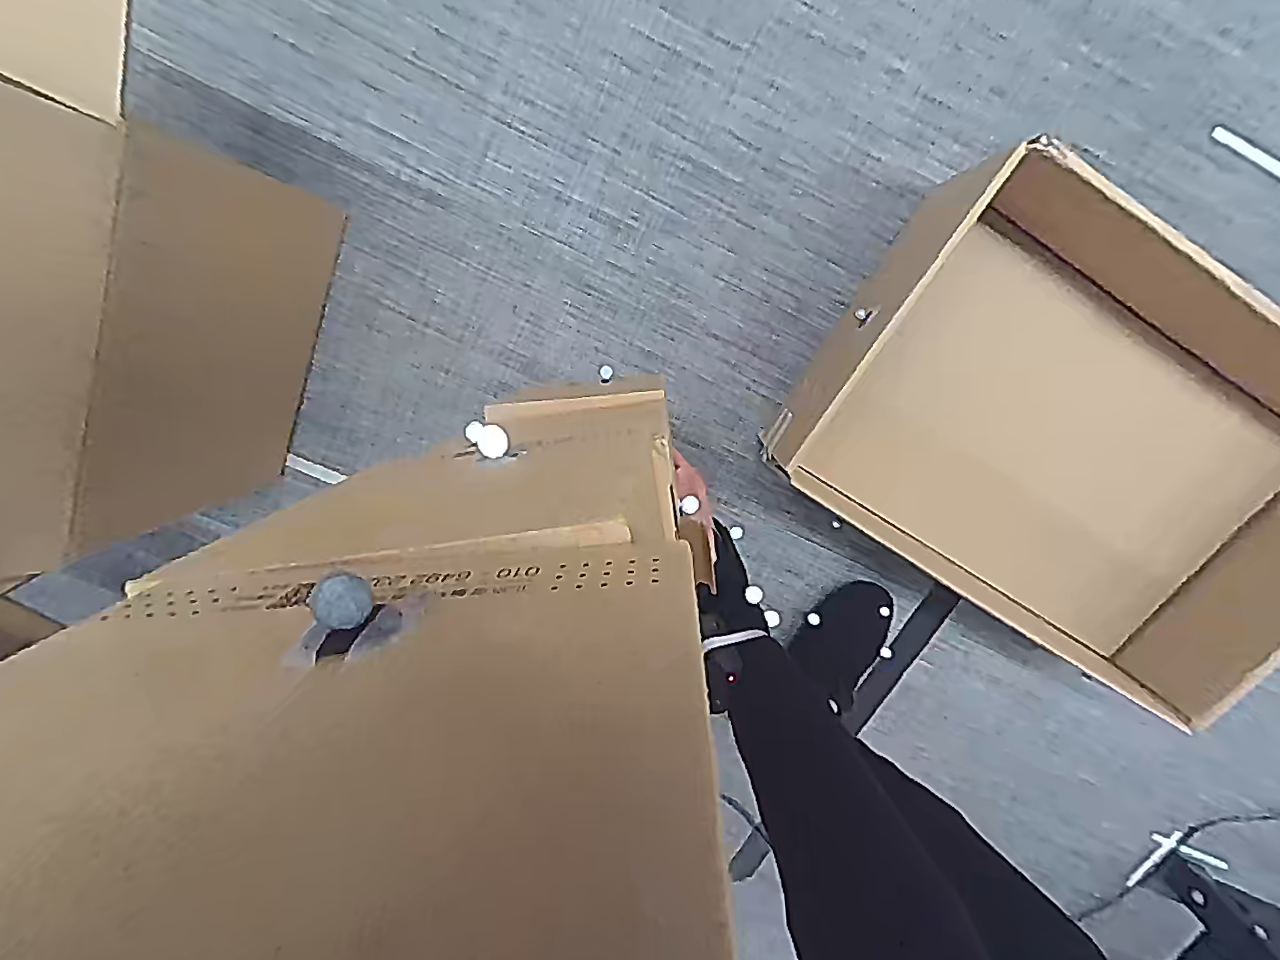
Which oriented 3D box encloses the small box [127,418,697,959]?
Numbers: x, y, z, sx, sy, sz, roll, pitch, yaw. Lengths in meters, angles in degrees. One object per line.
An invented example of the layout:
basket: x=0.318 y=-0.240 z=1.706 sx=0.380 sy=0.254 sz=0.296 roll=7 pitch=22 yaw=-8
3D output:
small box: x=-0.064 y=0.077 z=0.260 sx=0.168 sy=0.176 sz=0.179 roll=-7 pitch=104 yaw=5

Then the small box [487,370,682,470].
small box: x=-0.042 y=-0.016 z=0.576 sx=0.168 sy=0.176 sz=0.179 roll=-4 pitch=106 yaw=7

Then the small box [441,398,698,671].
small box: x=-0.052 y=0.035 z=0.420 sx=0.179 sy=0.176 sz=0.168 roll=-7 pitch=106 yaw=4
